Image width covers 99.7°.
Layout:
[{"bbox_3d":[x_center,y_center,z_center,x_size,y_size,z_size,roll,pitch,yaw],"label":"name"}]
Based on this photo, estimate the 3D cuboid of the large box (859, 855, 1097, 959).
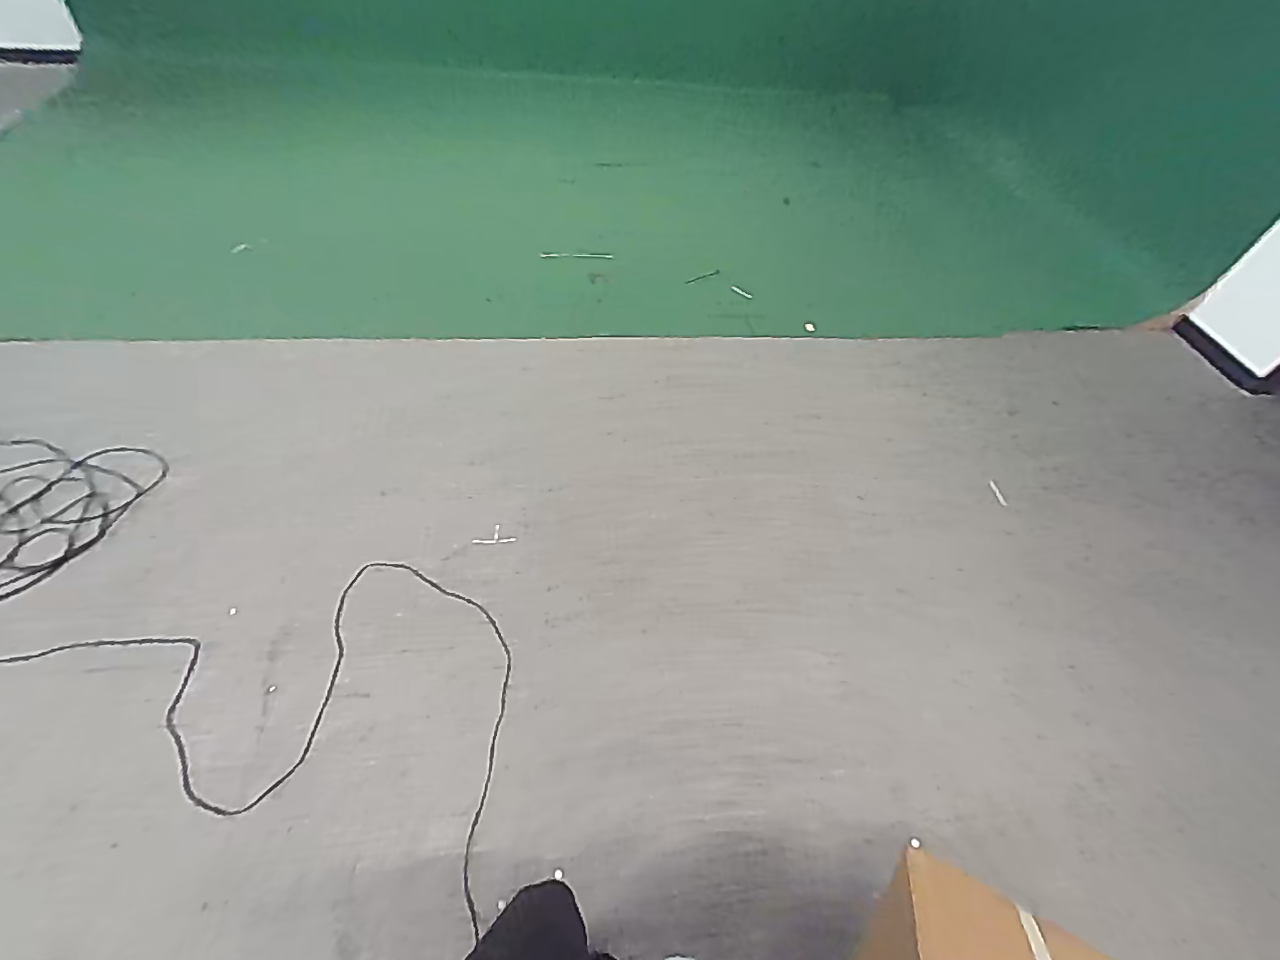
[{"bbox_3d":[0.408,0.749,0.591,0.320,0.408,0.320,23,97,21],"label":"large box"}]
